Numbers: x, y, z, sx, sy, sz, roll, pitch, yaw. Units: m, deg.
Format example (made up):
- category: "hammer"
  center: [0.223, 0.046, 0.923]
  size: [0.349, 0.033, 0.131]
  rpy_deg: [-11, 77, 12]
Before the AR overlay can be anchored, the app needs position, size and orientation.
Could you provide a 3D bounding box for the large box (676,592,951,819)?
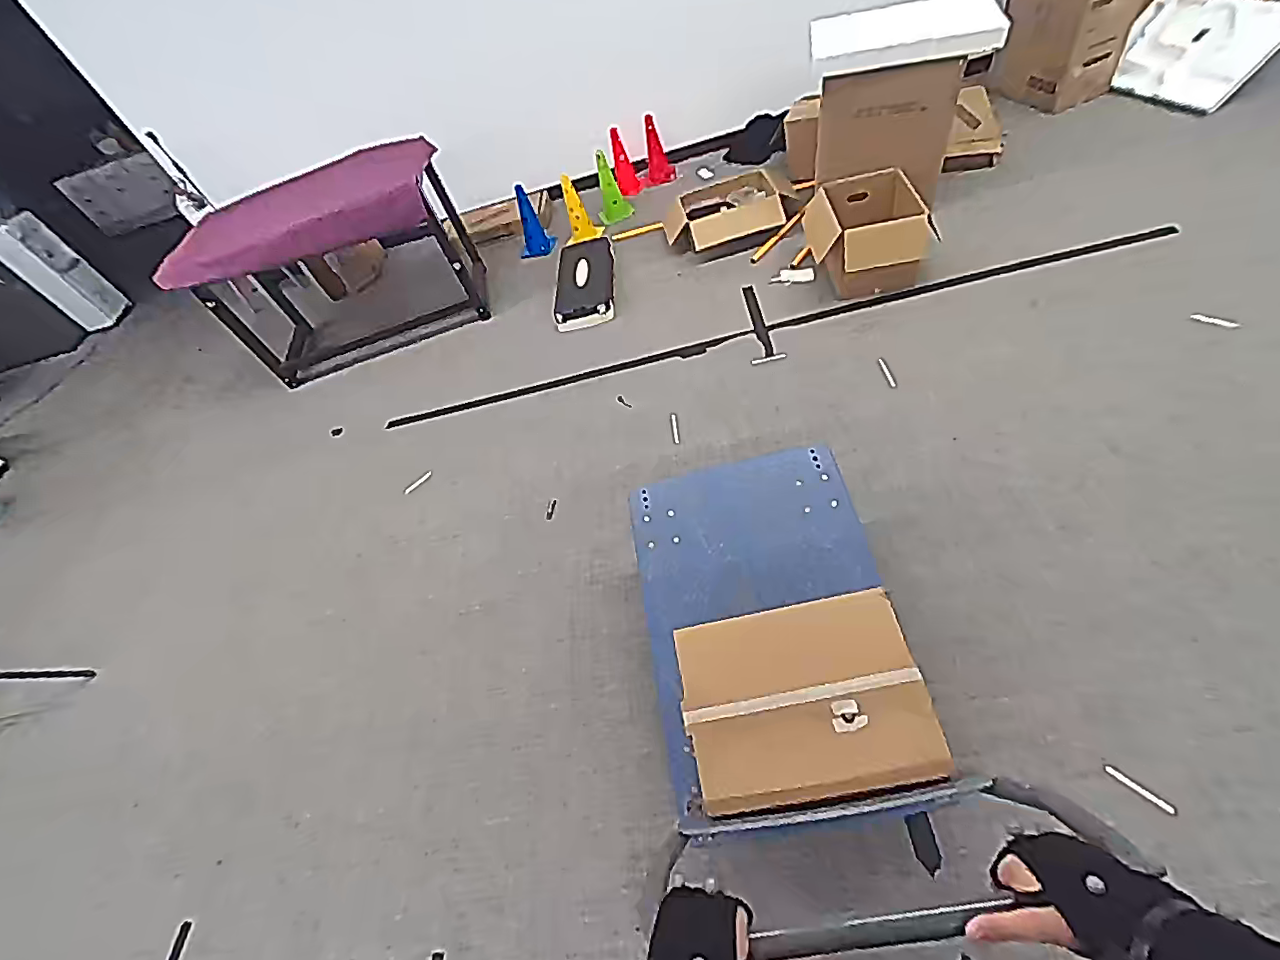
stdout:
- category: "large box"
  center: [0.314, 0.458, 1.084]
  size: [0.408, 0.320, 0.320]
  rpy_deg: [-14, 60, 5]
